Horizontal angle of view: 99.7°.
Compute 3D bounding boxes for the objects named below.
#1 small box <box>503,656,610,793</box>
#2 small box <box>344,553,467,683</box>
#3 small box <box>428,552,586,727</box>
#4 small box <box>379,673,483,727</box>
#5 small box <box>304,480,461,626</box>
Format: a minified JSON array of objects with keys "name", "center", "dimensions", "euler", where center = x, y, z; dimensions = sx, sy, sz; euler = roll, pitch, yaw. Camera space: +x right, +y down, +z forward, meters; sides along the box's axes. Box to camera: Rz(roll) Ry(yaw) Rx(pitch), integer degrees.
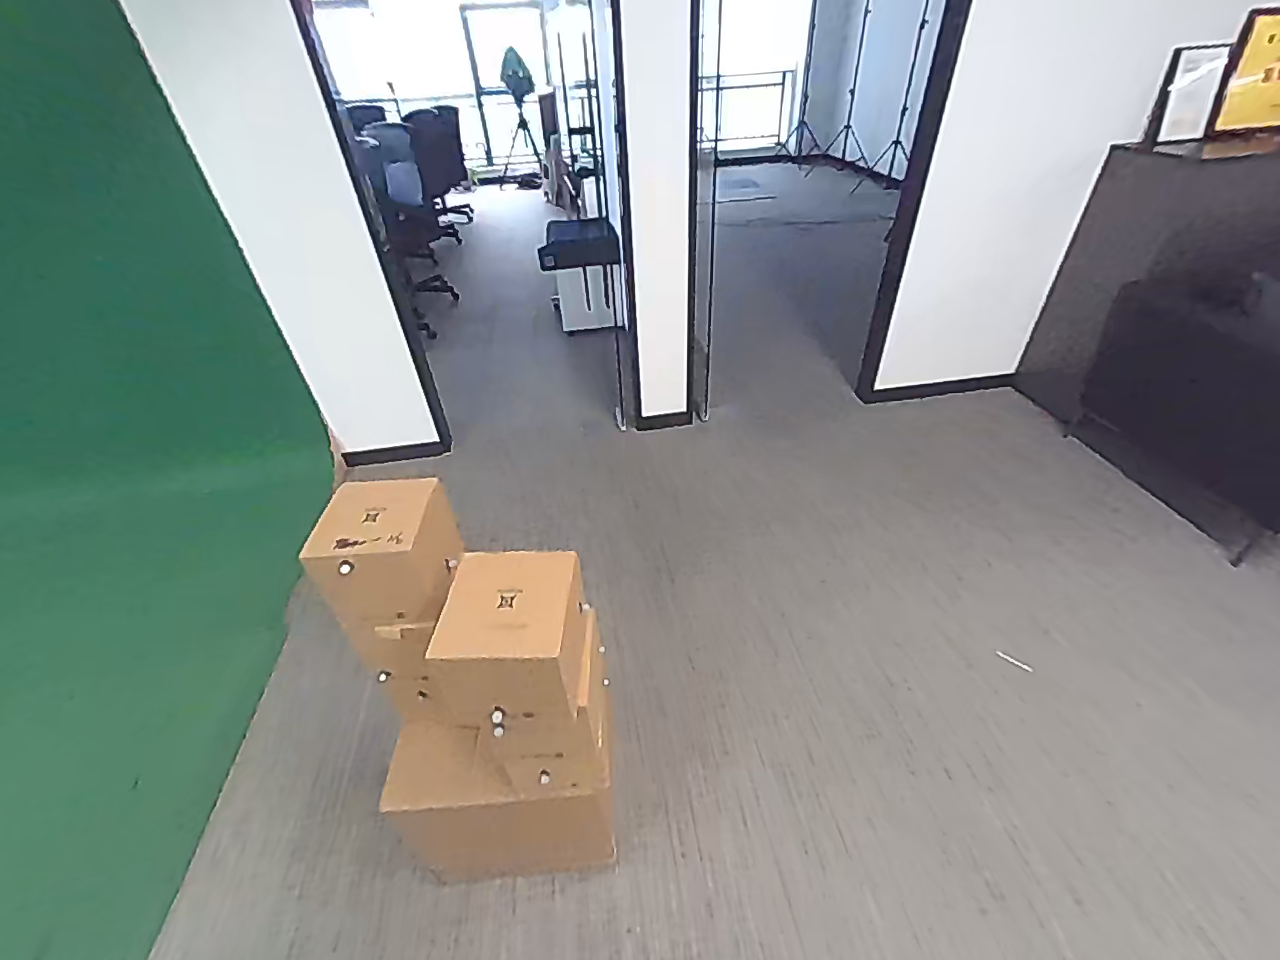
[{"name":"small box","center":[-0.146,0.455,0.997],"dimensions":[0.168,0.176,0.179],"euler":[-5,39,-3]},{"name":"small box","center":[-0.401,0.254,1.003],"dimensions":[0.168,0.176,0.179],"euler":[1,37,5]},{"name":"small box","center":[-0.171,0.222,0.766],"dimensions":[0.168,0.176,0.179],"euler":[-1,39,3]},{"name":"small box","center":[-0.390,0.384,1.104],"dimensions":[0.179,0.176,0.168],"euler":[0,39,3]},{"name":"small box","center":[-0.413,0.121,0.906],"dimensions":[0.168,0.176,0.179],"euler":[-4,37,0]}]
